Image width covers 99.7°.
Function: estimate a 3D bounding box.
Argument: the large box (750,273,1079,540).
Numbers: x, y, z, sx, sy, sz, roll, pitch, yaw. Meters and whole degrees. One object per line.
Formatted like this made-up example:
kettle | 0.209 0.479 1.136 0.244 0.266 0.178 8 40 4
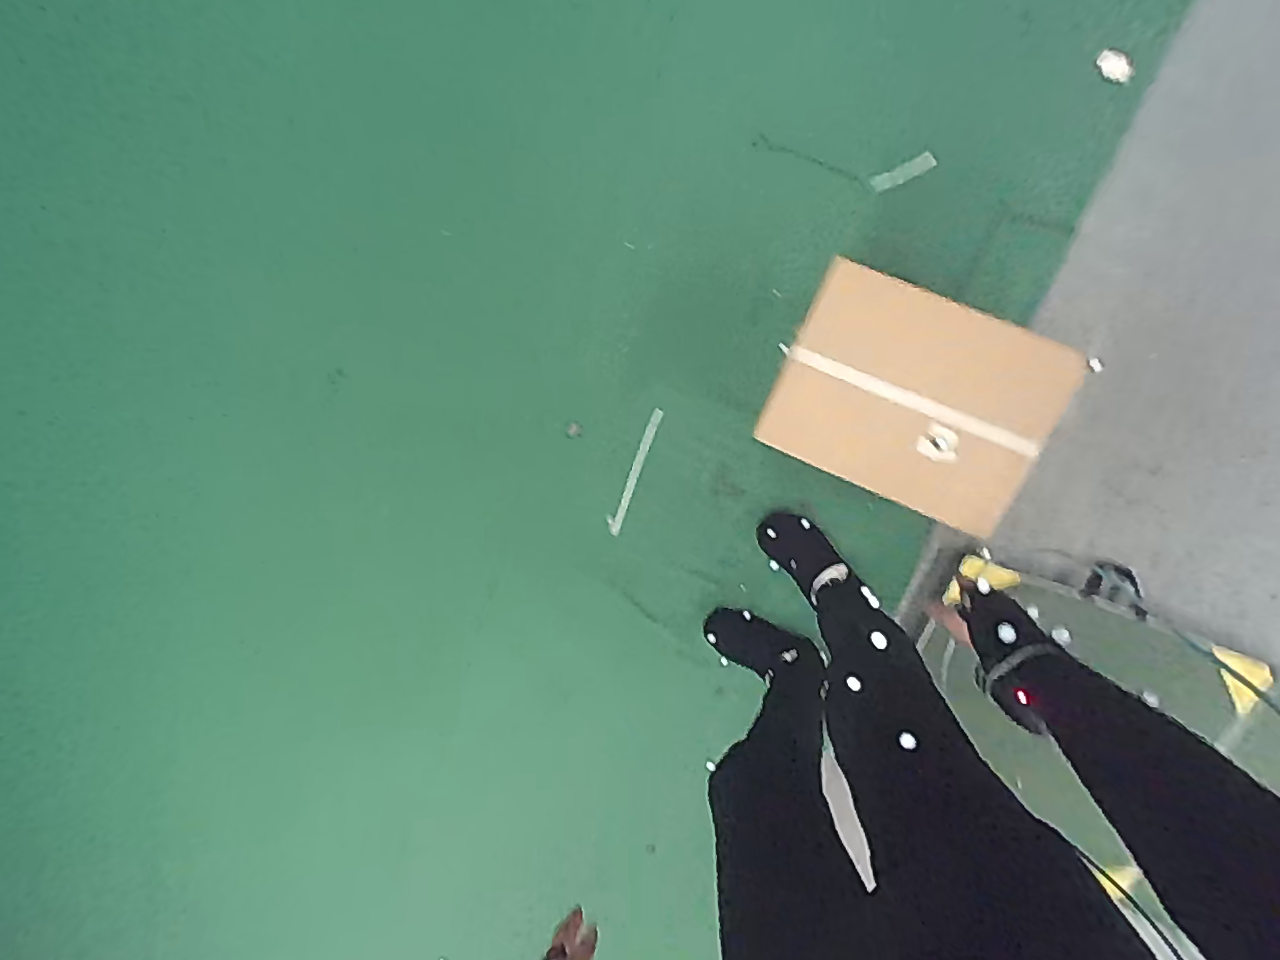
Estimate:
large box | 0.453 -0.136 1.012 0.408 0.320 0.320 25 103 6
